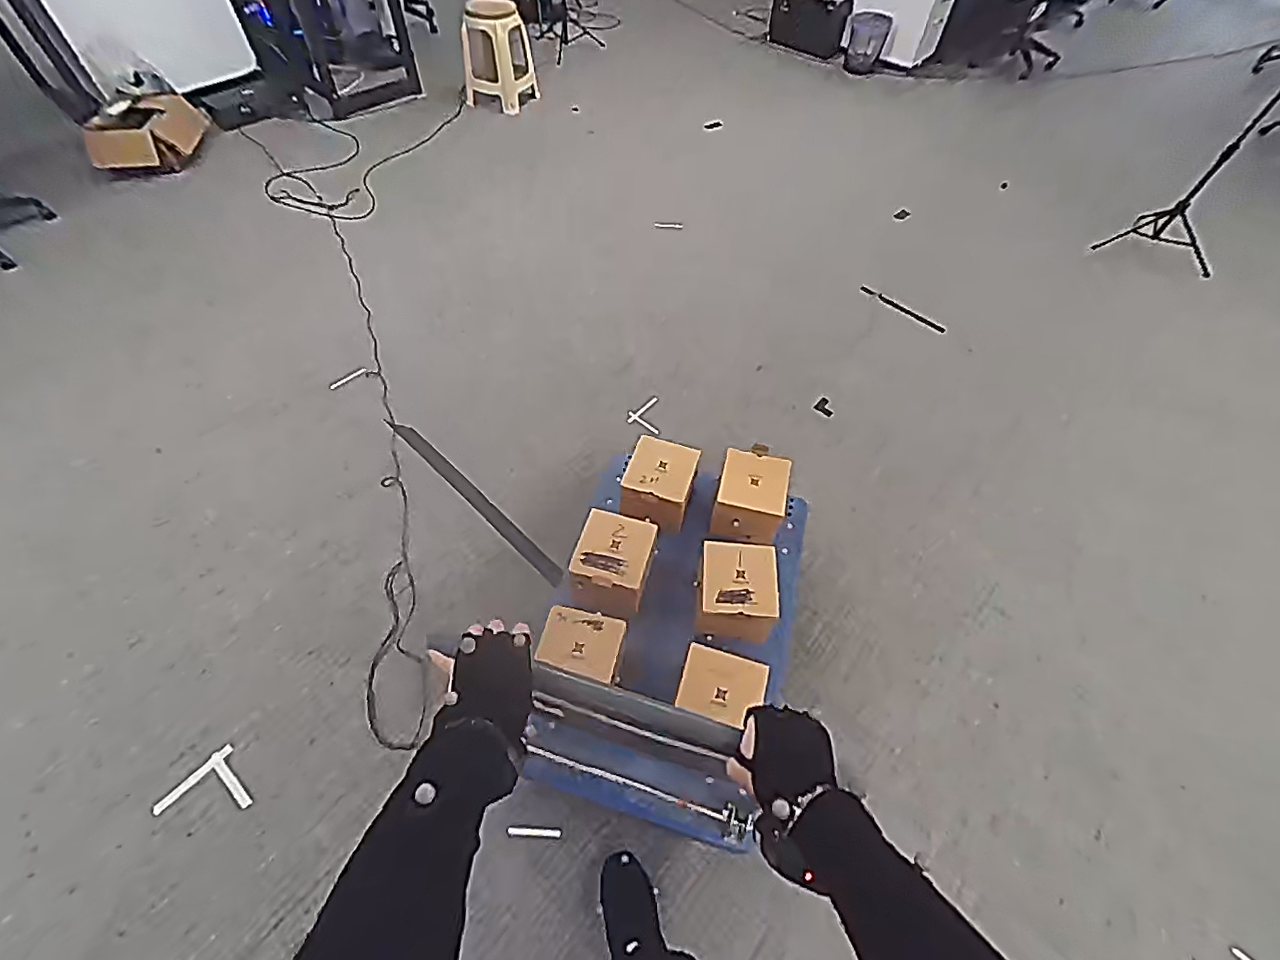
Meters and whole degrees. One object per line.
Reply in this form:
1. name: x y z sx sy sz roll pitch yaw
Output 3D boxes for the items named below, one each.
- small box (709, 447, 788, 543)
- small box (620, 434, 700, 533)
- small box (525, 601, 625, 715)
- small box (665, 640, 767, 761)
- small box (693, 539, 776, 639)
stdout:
1. small box: 0.283 0.045 1.427 0.168 0.176 0.179 13 56 7
2. small box: 0.050 0.011 1.438 0.168 0.176 0.179 17 57 10
3. small box: -0.132 0.390 1.169 0.168 0.176 0.179 13 56 6
4. small box: 0.154 0.466 1.131 0.168 0.176 0.179 16 56 8
5. small box: 0.218 0.261 1.274 0.168 0.176 0.179 5 54 2
